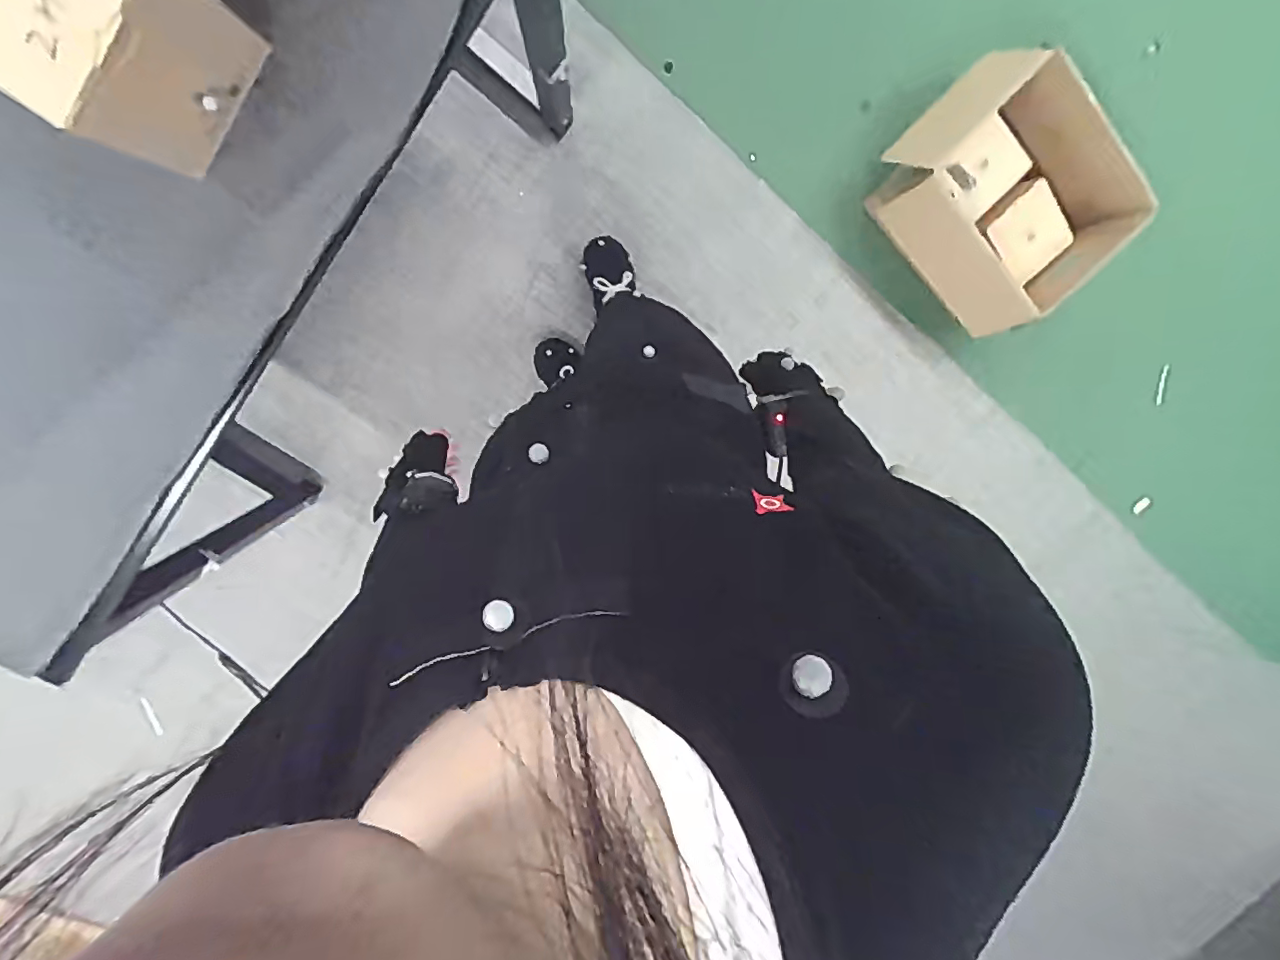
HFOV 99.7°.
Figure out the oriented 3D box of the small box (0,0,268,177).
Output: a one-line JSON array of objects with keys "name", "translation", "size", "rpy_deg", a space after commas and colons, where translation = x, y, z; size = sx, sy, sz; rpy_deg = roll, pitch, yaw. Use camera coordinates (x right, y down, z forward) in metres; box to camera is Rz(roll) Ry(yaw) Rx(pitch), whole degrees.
[{"name": "small box", "translation": [-0.503, -0.418, 0.498], "size": [0.179, 0.176, 0.168], "rpy_deg": [35, 101, -13]}]
